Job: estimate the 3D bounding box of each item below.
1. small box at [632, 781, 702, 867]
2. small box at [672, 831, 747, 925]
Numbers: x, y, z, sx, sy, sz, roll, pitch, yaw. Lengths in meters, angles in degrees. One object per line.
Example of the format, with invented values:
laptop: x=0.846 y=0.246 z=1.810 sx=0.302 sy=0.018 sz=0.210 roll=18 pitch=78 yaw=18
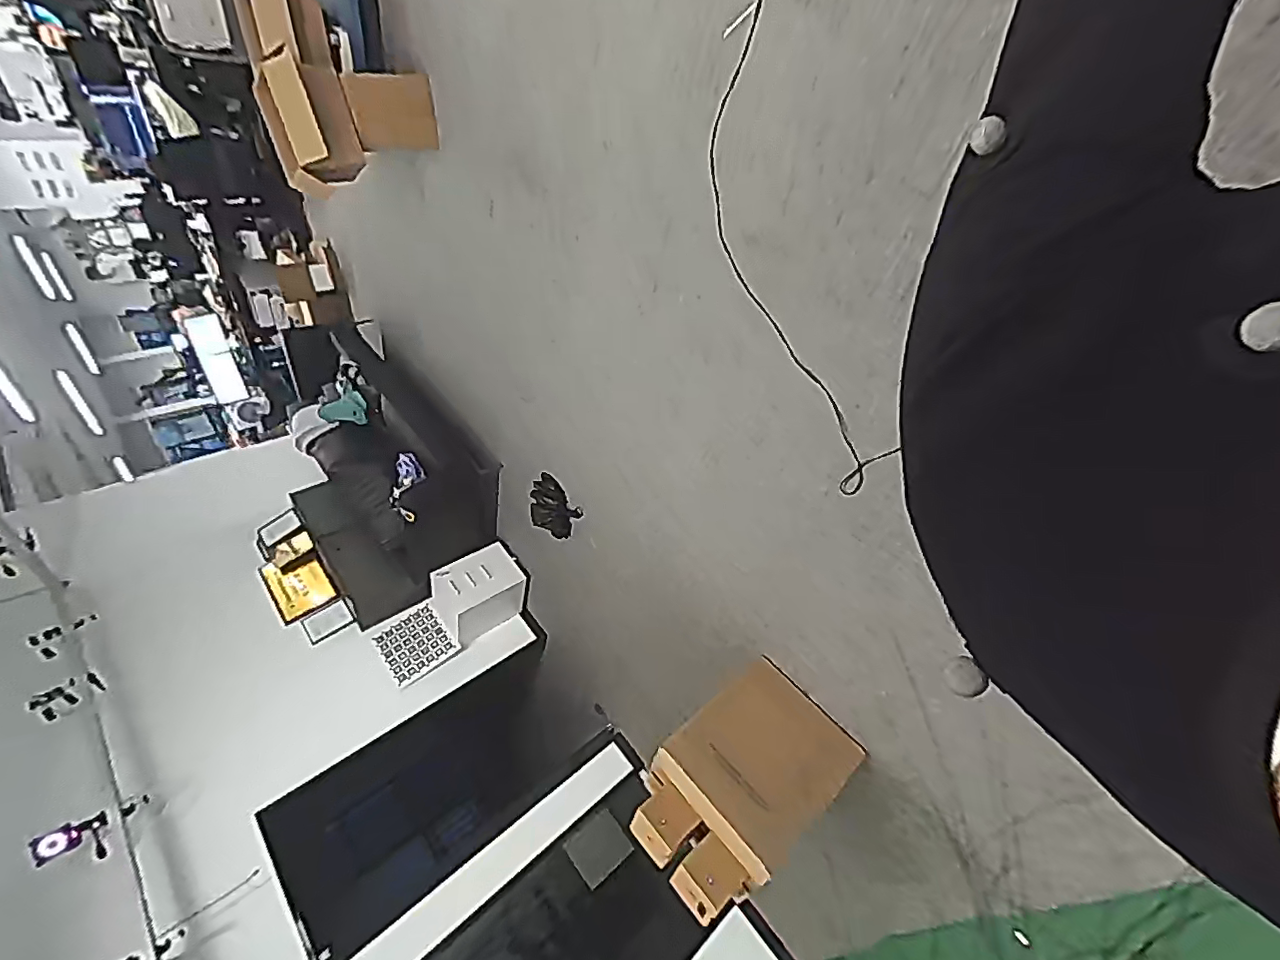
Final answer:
small box: x=0.100 y=1.255 z=1.982 sx=0.179 sy=0.176 sz=0.168 roll=39 pitch=131 yaw=33
small box: x=0.242 y=1.372 z=1.872 sx=0.179 sy=0.176 sz=0.168 roll=40 pitch=132 yaw=31
